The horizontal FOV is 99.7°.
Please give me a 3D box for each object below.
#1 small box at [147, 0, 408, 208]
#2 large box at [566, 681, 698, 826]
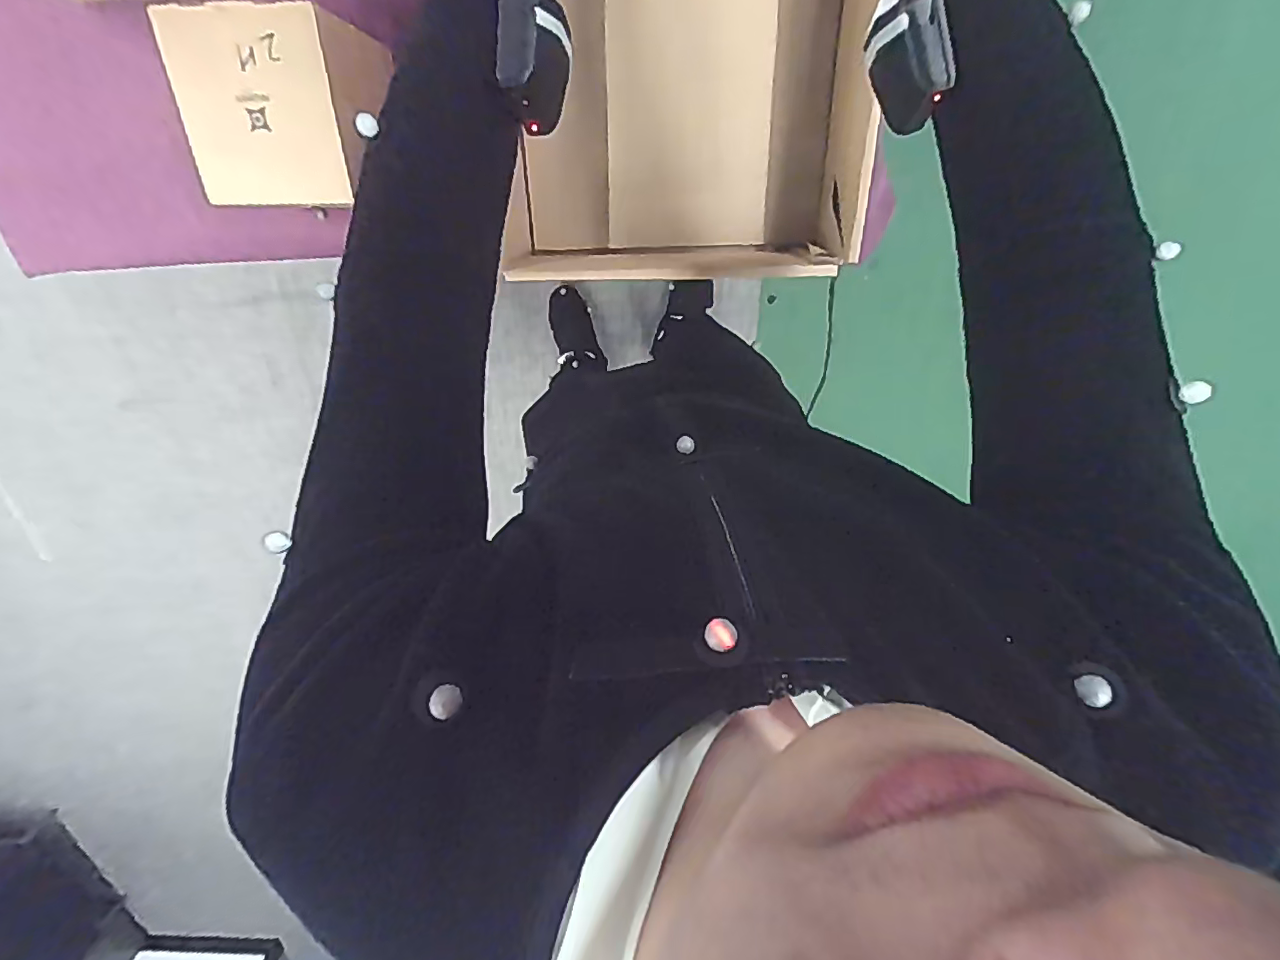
[{"bbox_3d":[-0.391,-0.417,0.626,0.168,0.176,0.179,1,117,1],"label":"small box"},{"bbox_3d":[-0.029,1.072,2.128,0.408,0.320,0.320,-30,113,15],"label":"large box"}]
